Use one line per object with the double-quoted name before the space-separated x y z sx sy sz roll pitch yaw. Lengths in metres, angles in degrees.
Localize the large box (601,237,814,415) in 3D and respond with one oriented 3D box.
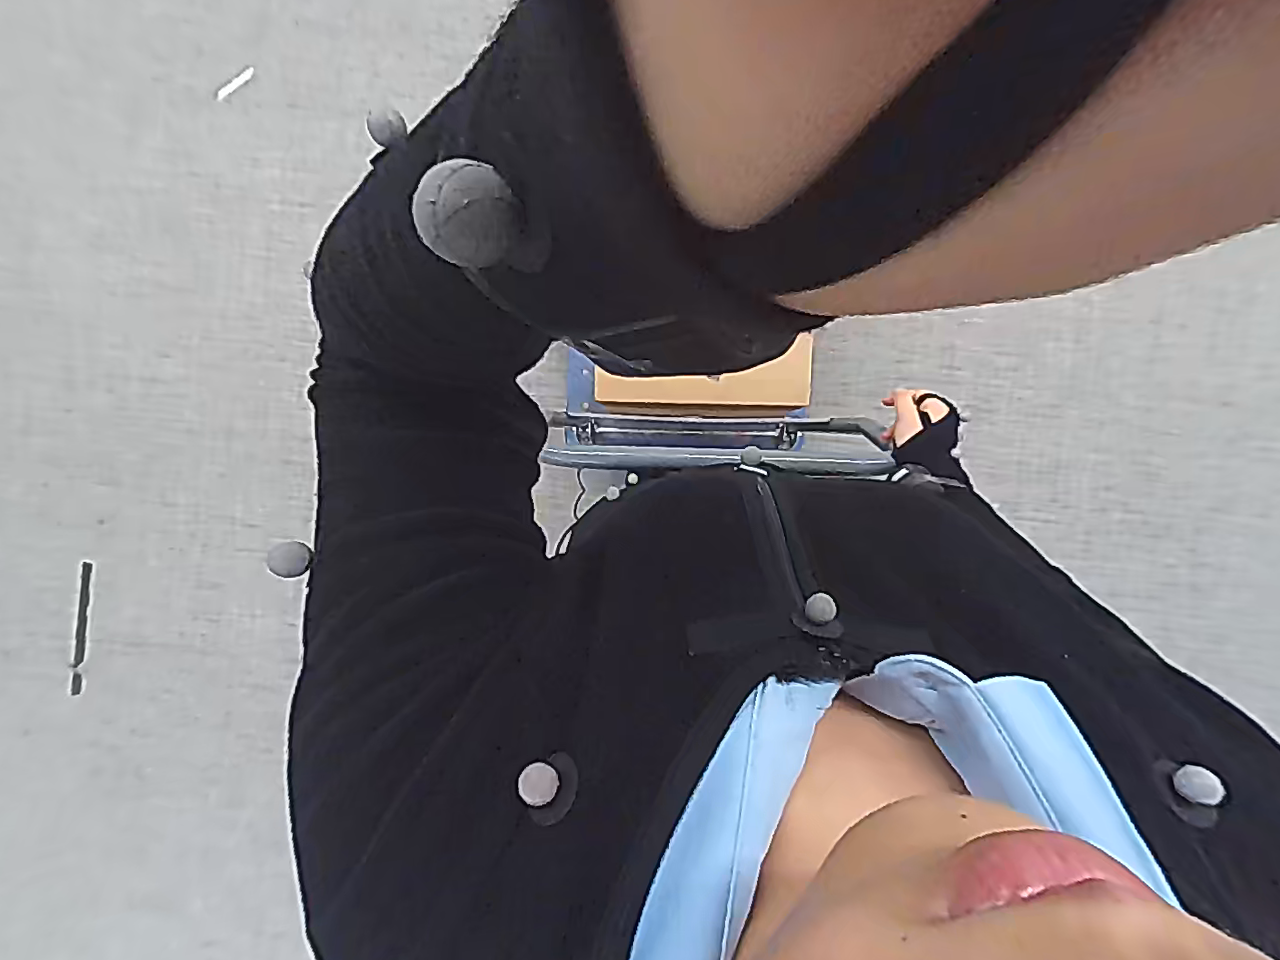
"large box" 0.126 -0.306 1.167 0.408 0.320 0.320 1 93 1
